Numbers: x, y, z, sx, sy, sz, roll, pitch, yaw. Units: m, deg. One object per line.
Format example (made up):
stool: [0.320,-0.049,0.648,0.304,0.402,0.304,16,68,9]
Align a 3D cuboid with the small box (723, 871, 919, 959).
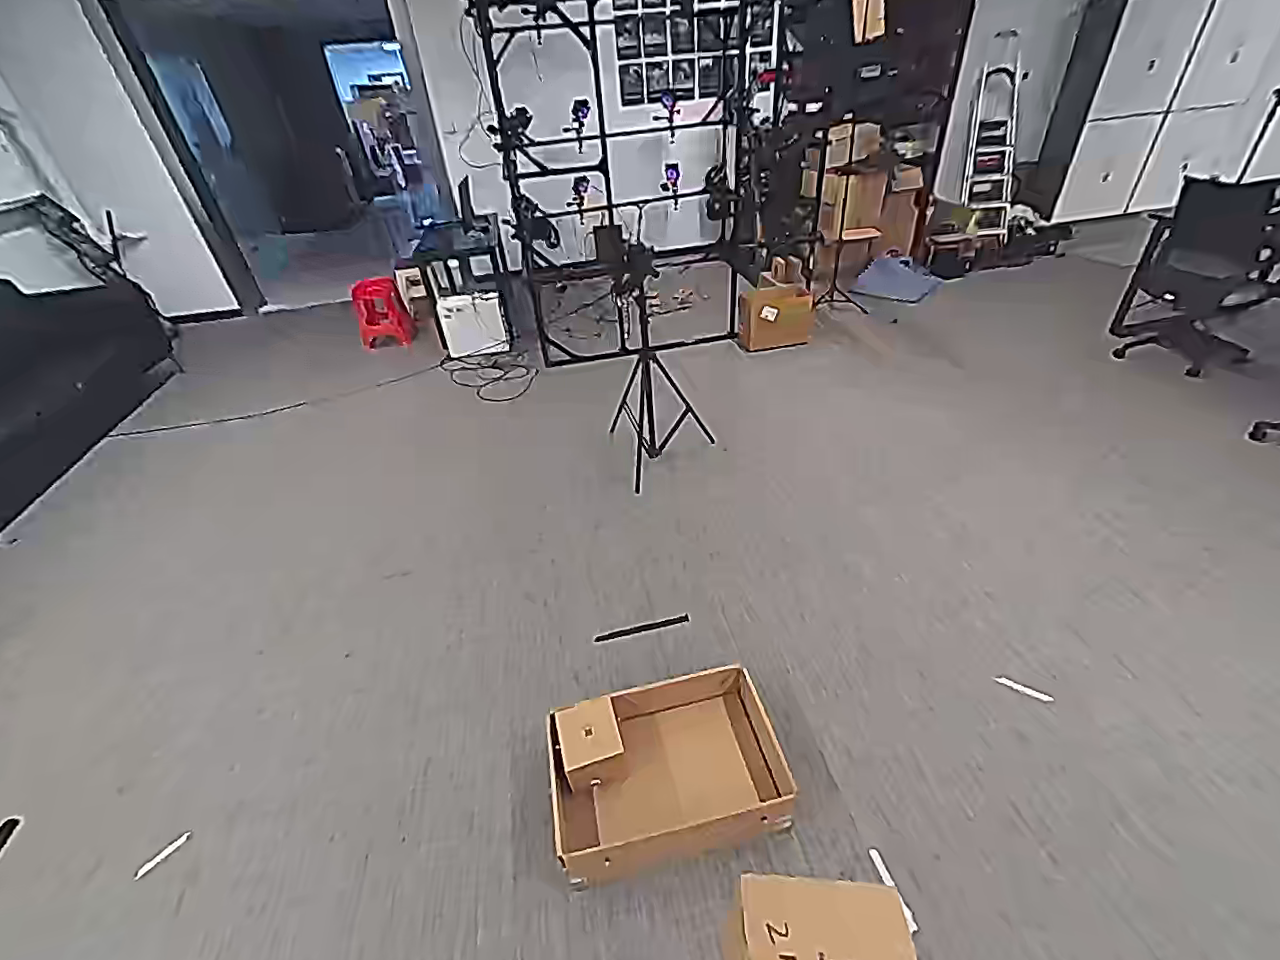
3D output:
small box: [0.188,0.545,0.568,0.179,0.176,0.168,2,34,2]
